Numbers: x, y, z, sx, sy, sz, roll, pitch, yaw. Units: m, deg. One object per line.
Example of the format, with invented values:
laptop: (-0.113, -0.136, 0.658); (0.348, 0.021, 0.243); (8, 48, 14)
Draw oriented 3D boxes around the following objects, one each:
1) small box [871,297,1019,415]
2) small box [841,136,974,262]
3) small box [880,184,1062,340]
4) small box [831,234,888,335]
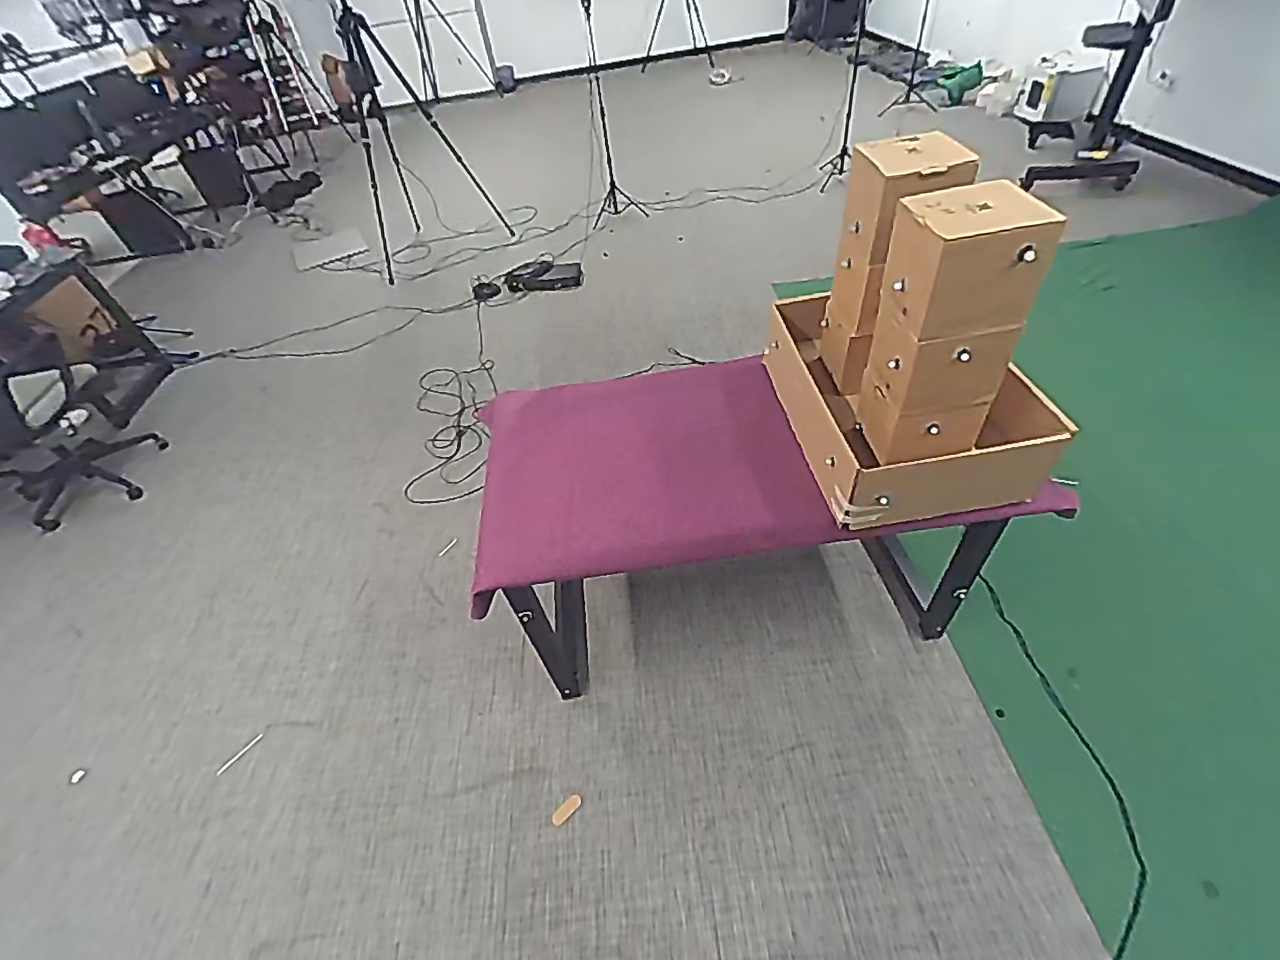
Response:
small box: (0.542, -0.238, 0.998); (0.179, 0.176, 0.168); (-8, 47, 4)
small box: (0.511, -0.544, 1.063); (0.168, 0.176, 0.179); (-8, 48, 2)
small box: (0.520, -0.351, 0.881); (0.179, 0.176, 0.168); (-9, 46, 3)
small box: (0.530, -0.432, 1.182); (0.168, 0.176, 0.179); (-8, 47, 3)
